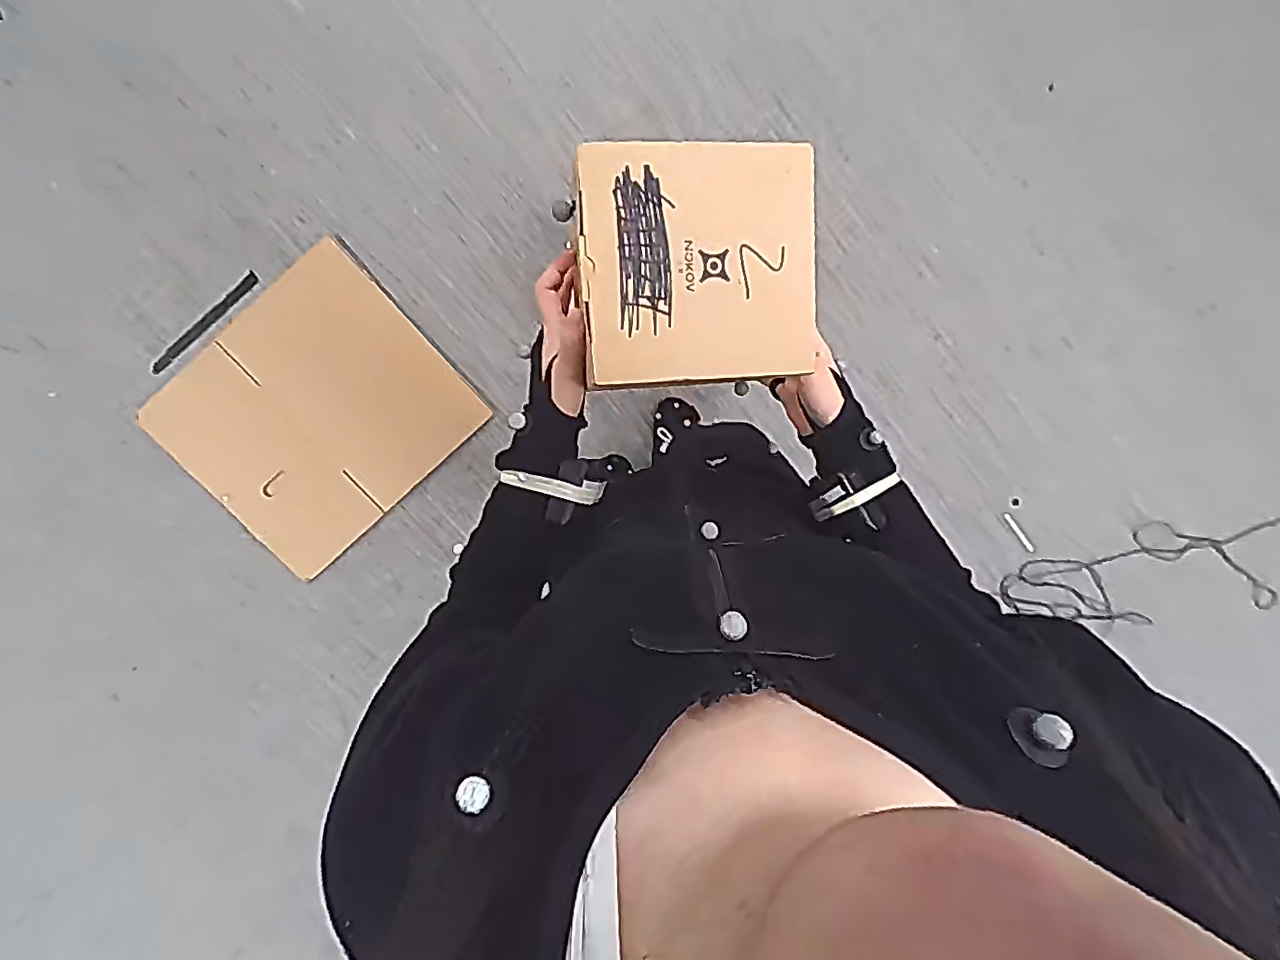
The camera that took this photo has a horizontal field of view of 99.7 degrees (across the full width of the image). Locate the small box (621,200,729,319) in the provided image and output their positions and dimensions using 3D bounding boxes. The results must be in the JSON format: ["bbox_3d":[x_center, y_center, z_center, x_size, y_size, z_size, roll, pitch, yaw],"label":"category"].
[{"bbox_3d":[0.059,-0.416,1.050,0.179,0.176,0.168,7,98,-4],"label":"small box"}]
